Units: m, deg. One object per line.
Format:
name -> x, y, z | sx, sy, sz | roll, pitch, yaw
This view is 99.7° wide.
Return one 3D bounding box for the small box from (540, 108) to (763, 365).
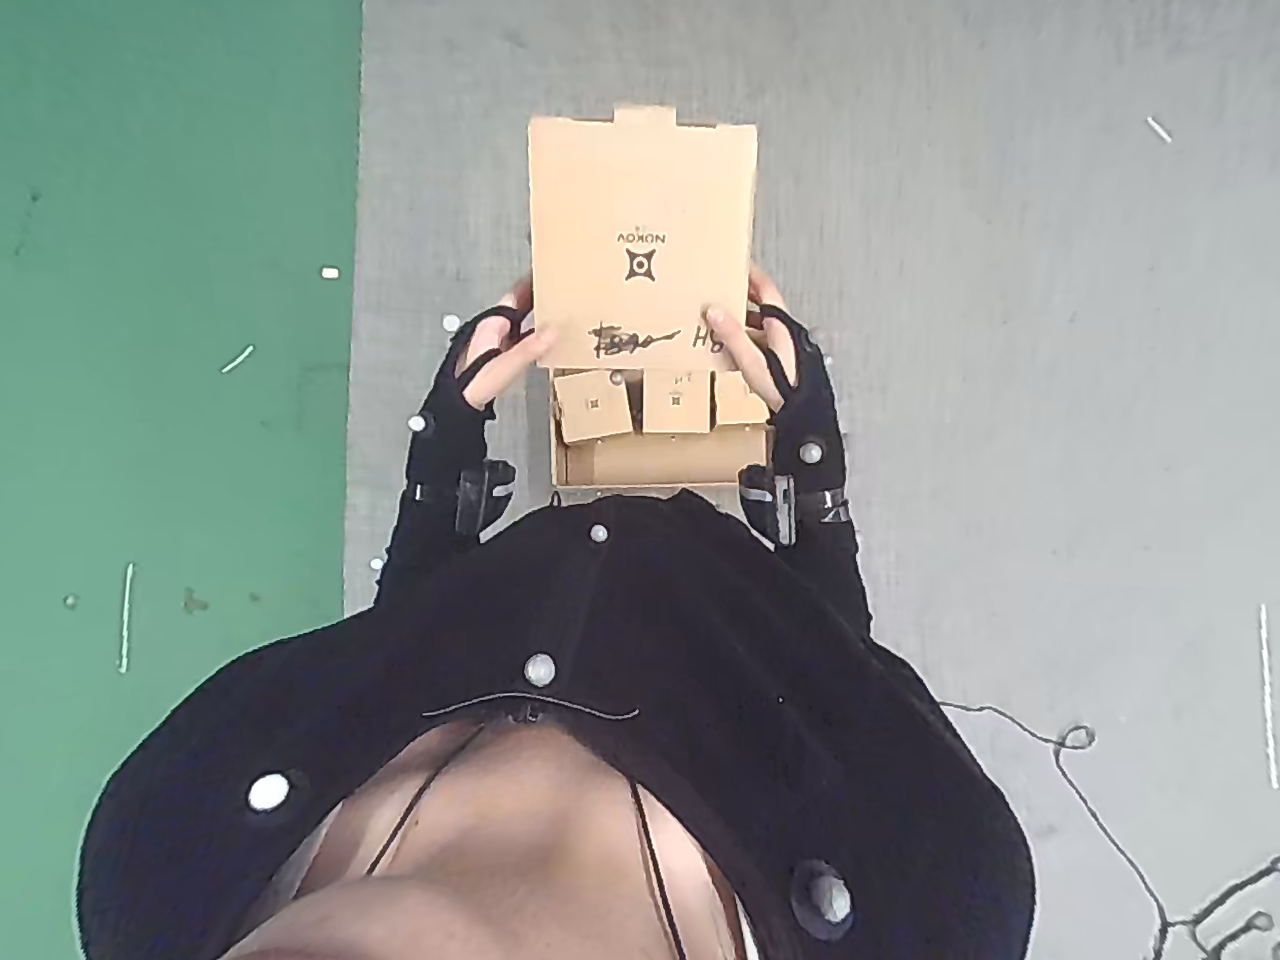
small box -> 0.002, -0.198, 0.484 | 0.168, 0.176, 0.179 | 1, 106, -3
